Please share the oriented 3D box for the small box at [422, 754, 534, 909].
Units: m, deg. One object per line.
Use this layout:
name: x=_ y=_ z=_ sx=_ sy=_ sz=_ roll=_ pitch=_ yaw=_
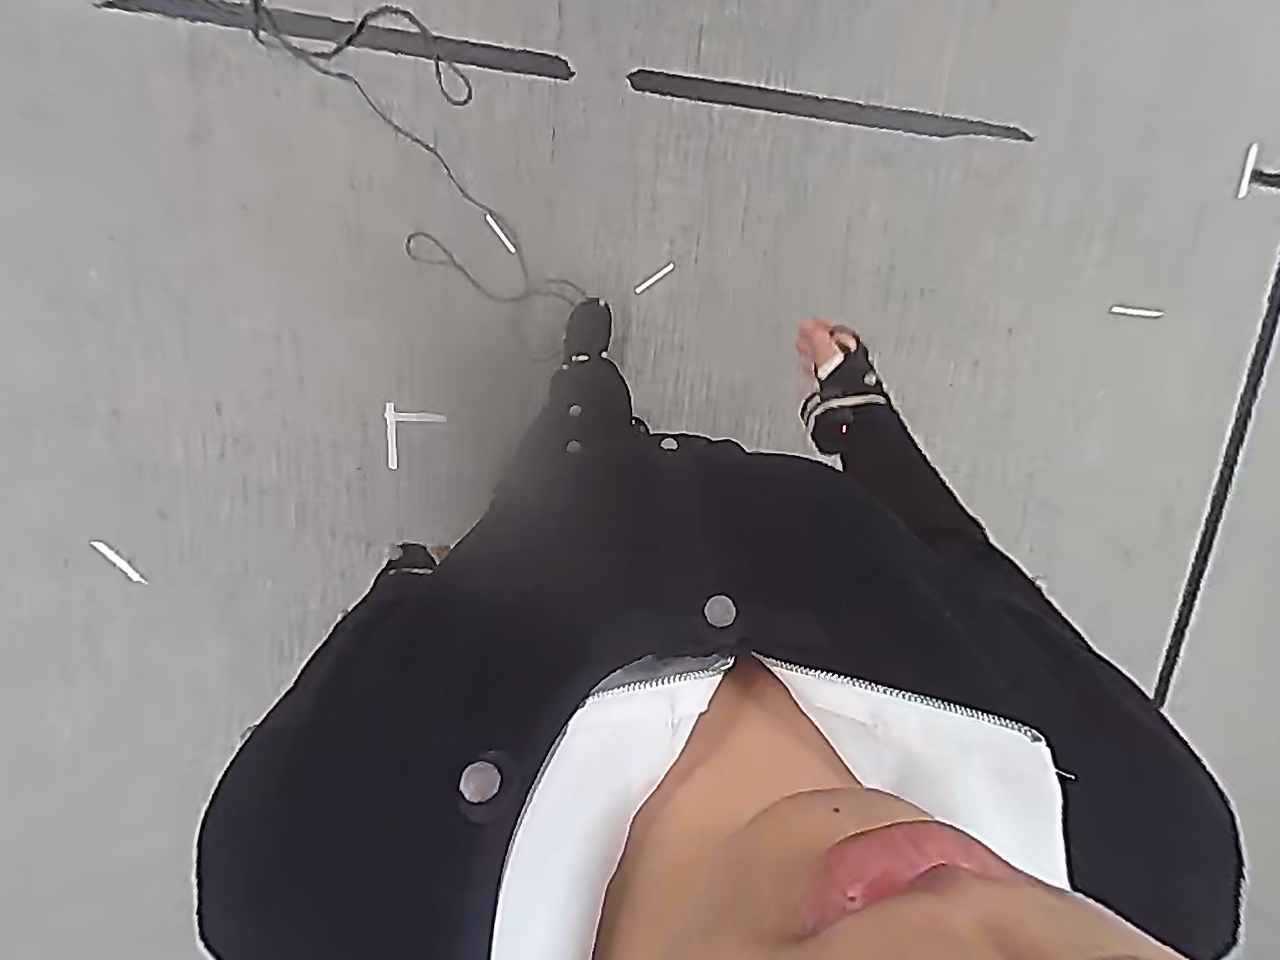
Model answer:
small box: x=-0.294 y=0.649 z=1.010 sx=0.168 sy=0.176 sz=0.179 roll=4 pitch=99 yaw=-4
